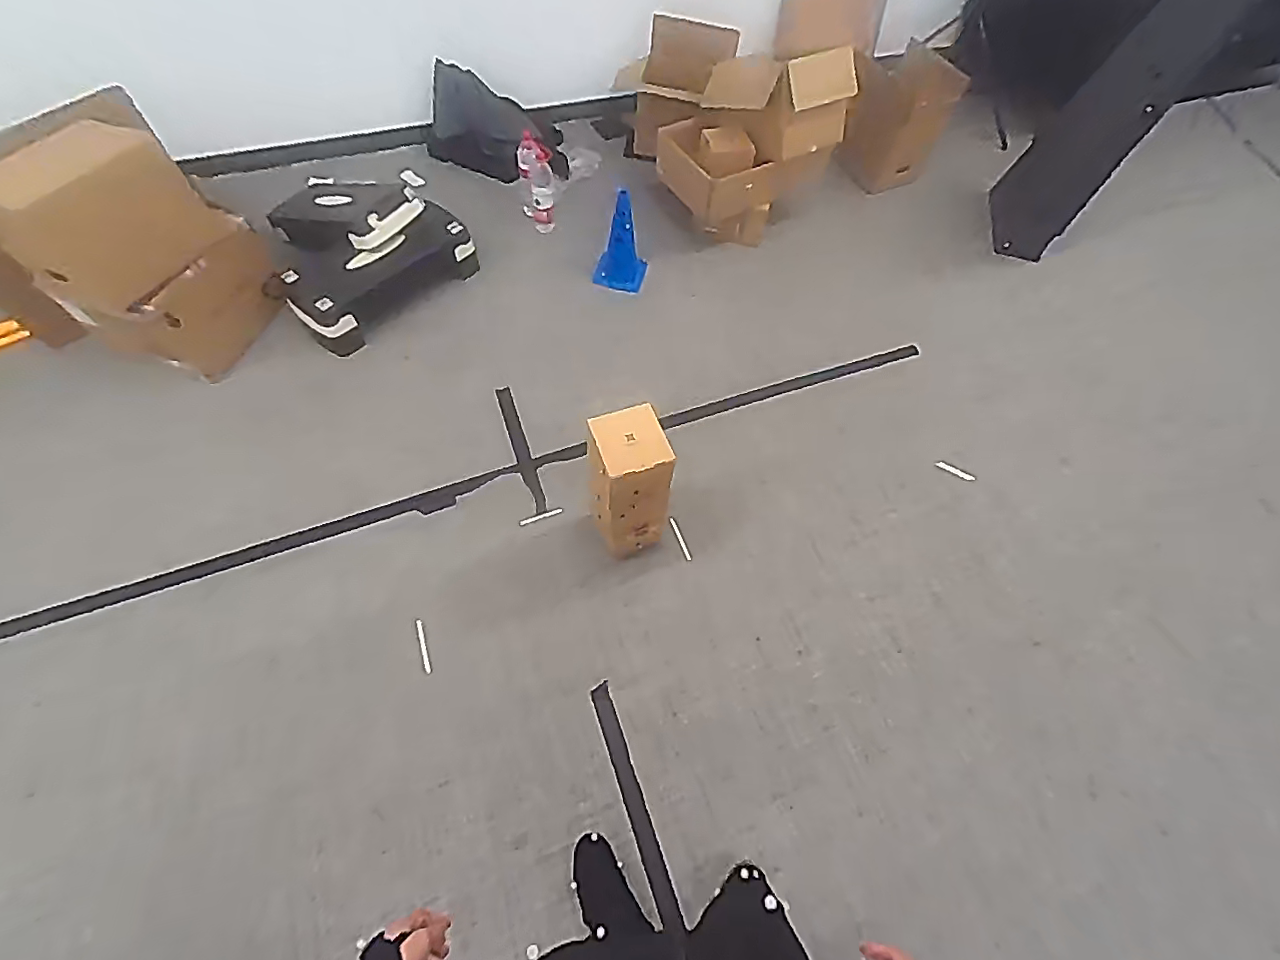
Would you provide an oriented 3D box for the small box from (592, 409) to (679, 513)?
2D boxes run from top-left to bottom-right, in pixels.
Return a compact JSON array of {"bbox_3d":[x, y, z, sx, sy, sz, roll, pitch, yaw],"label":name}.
[{"bbox_3d":[-0.020,-0.045,1.349,0.168,0.176,0.179,-17,64,-13],"label":"small box"}]

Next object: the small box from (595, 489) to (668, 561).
[{"bbox_3d":[-0.032,0.119,1.633,0.168,0.176,0.179,-20,65,-14],"label":"small box"}]
